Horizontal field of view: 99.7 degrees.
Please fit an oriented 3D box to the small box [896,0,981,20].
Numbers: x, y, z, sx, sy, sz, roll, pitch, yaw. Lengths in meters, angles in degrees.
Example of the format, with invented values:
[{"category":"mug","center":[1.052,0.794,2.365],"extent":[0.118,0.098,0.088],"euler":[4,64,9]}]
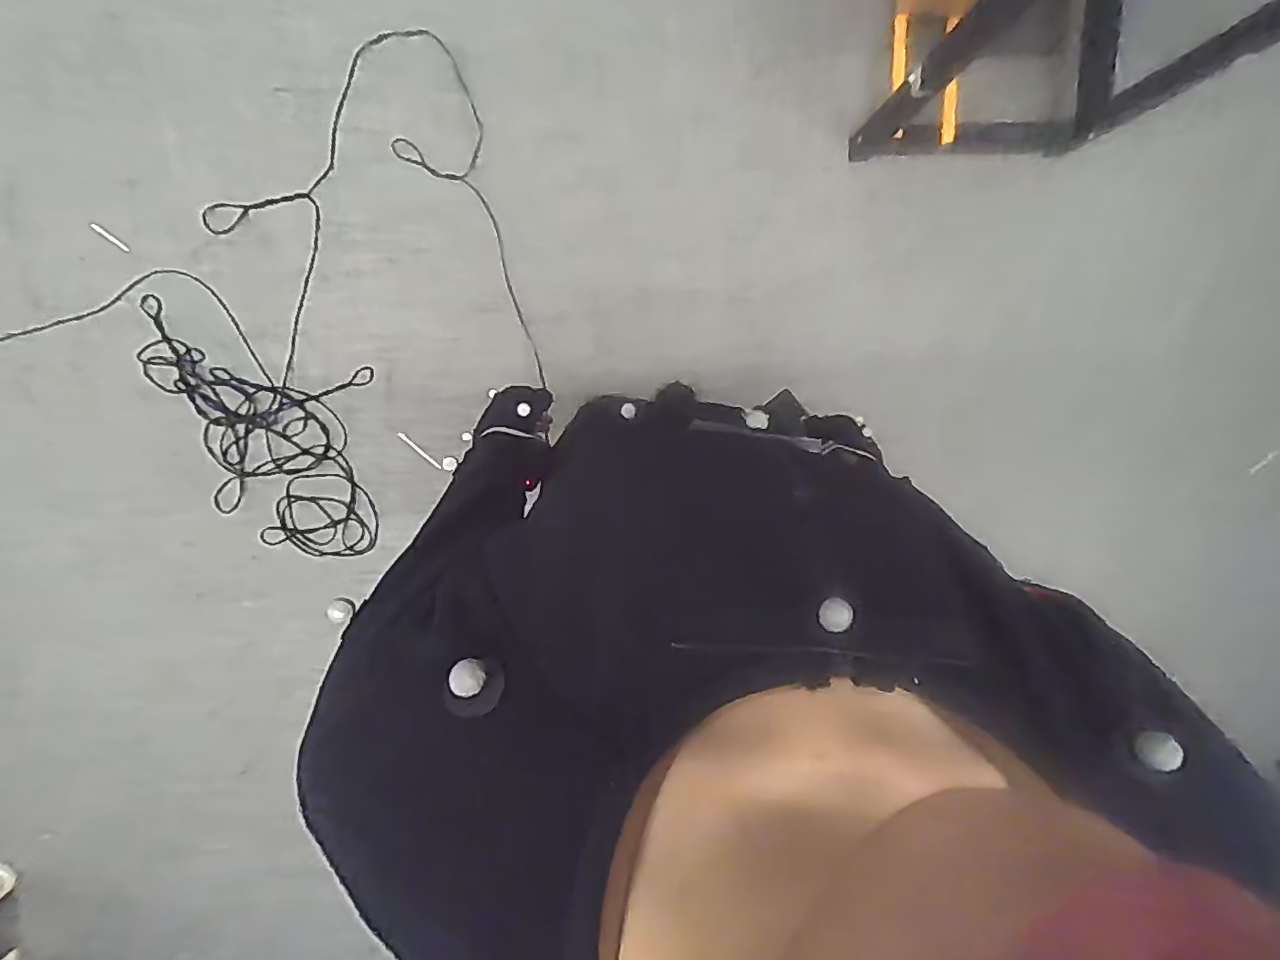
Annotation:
[{"category":"small box","center":[0.676,-1.133,1.156],"extent":[0.179,0.176,0.168],"euler":[1,99,-3]}]
